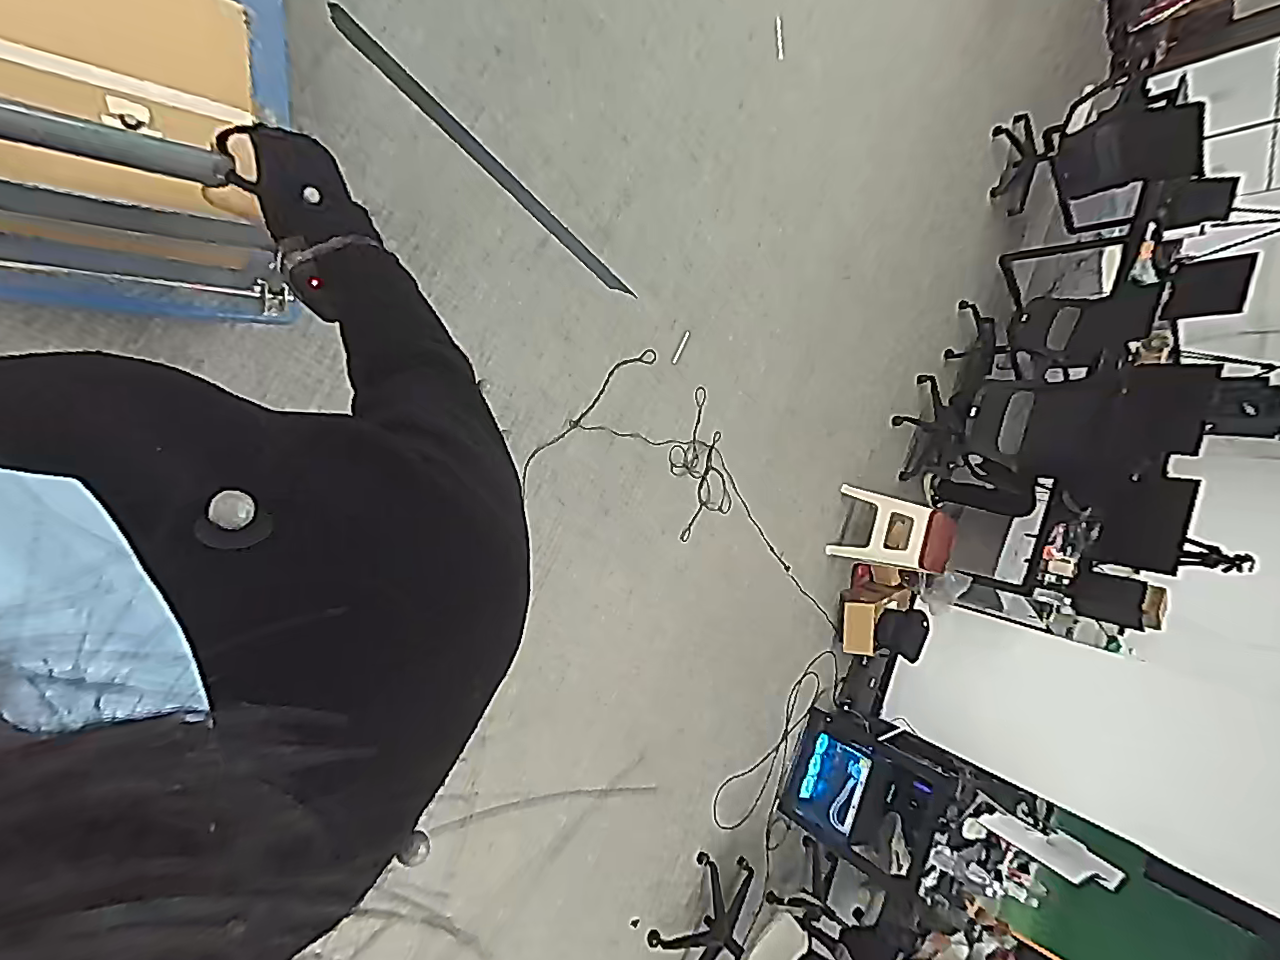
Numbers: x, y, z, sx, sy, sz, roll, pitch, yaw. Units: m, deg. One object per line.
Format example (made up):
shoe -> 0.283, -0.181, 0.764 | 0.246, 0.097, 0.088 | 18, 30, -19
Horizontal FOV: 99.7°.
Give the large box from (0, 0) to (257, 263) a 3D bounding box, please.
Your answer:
large box -> -0.823, -0.528, 0.772 | 0.408, 0.320, 0.320 | -5, 102, -41
